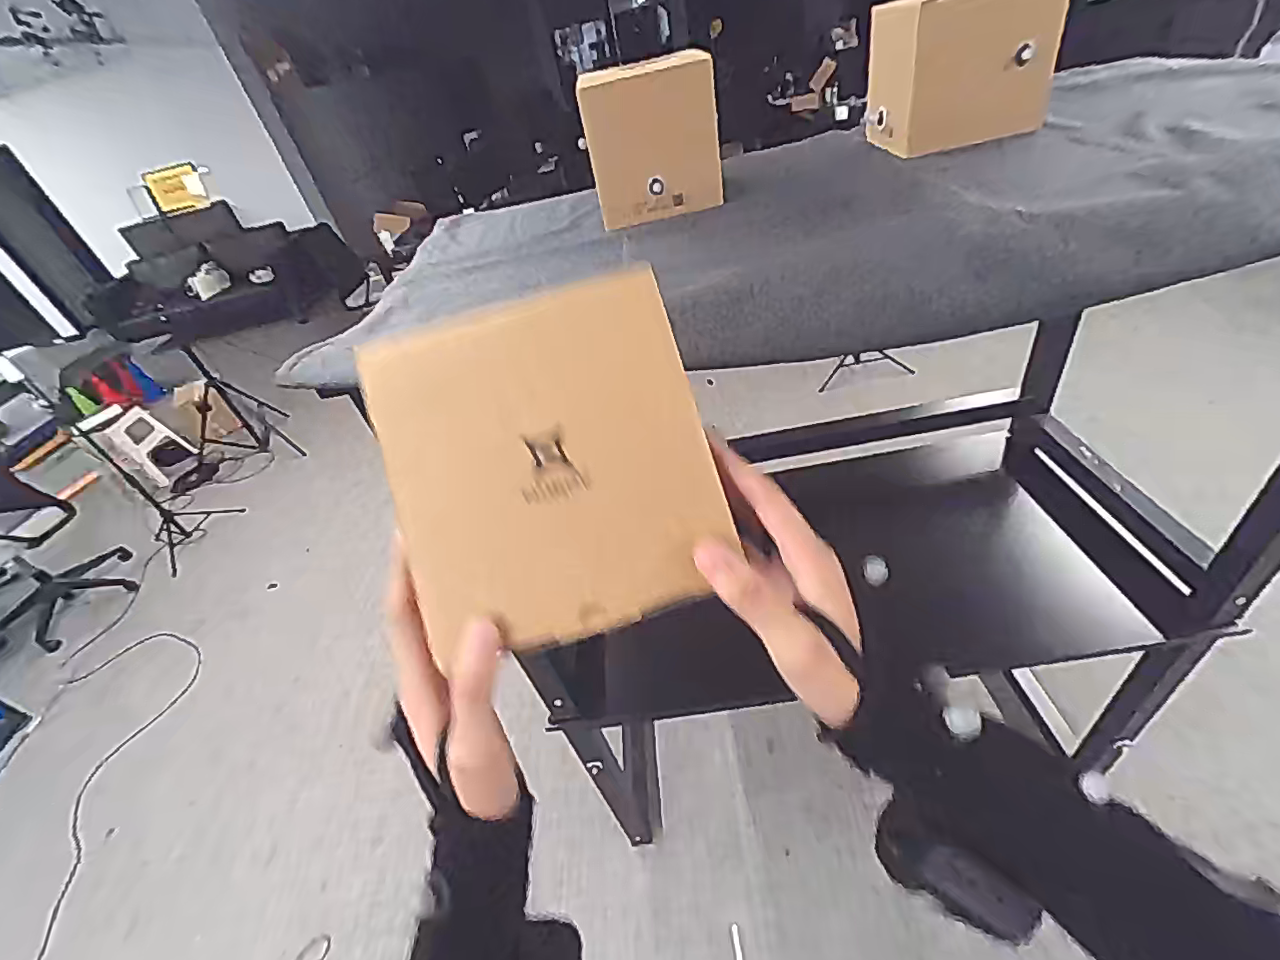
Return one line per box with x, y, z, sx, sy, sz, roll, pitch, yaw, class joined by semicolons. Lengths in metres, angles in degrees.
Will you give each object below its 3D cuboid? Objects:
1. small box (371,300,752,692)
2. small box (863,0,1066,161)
-0.045;0.014;0.363;0.168;0.176;0.179;-17;84;-3;small box
0.420;-0.555;0.733;0.179;0.176;0.168;-9;38;6;small box
